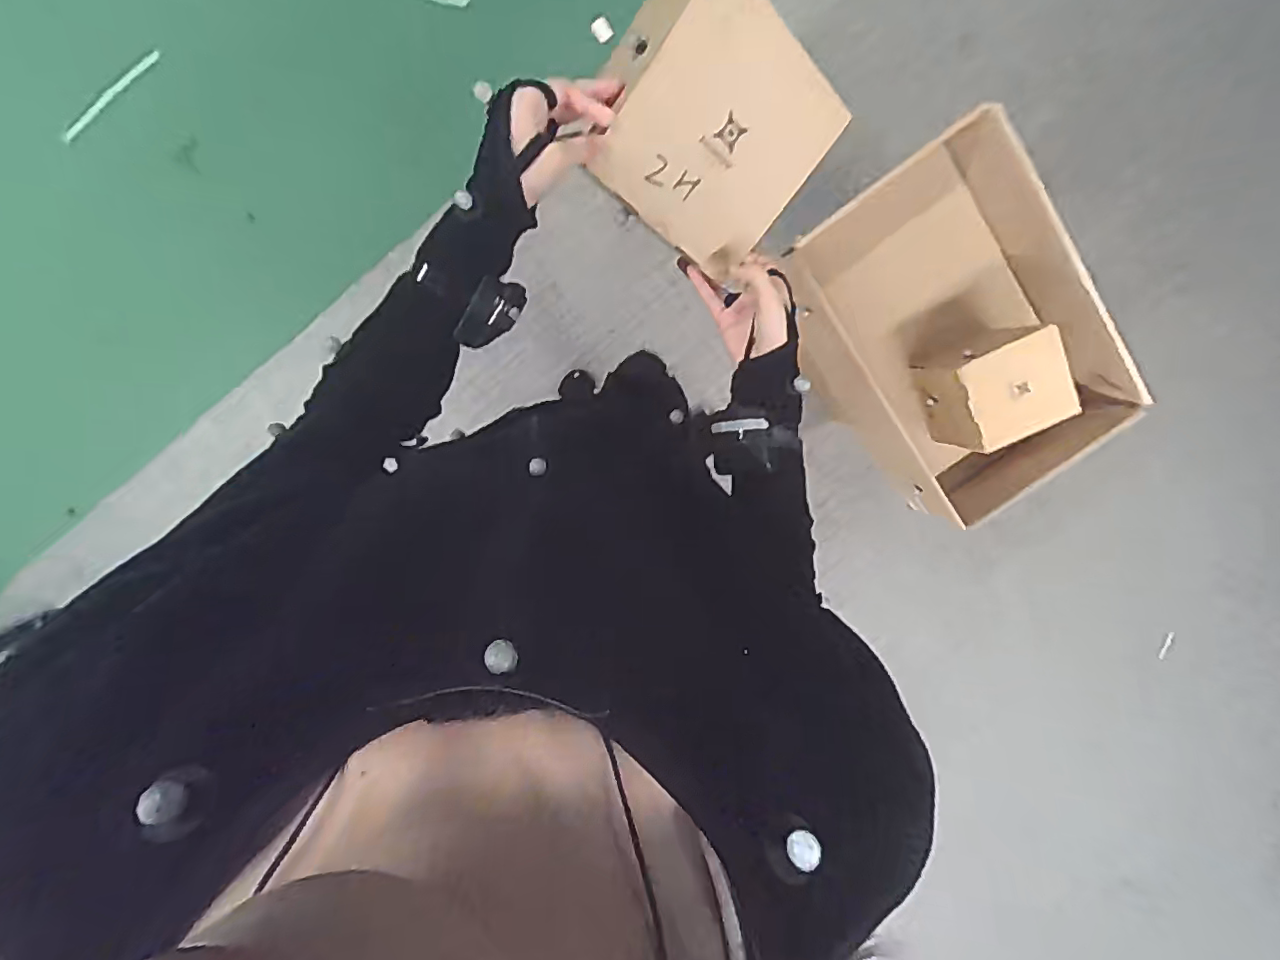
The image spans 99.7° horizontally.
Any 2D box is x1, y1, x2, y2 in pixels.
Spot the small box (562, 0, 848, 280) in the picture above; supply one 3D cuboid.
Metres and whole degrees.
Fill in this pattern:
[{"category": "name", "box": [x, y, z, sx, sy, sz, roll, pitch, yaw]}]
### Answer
[{"category": "small box", "box": [0.044, -0.326, 0.501, 0.168, 0.176, 0.179, 28, 113, -32]}]
